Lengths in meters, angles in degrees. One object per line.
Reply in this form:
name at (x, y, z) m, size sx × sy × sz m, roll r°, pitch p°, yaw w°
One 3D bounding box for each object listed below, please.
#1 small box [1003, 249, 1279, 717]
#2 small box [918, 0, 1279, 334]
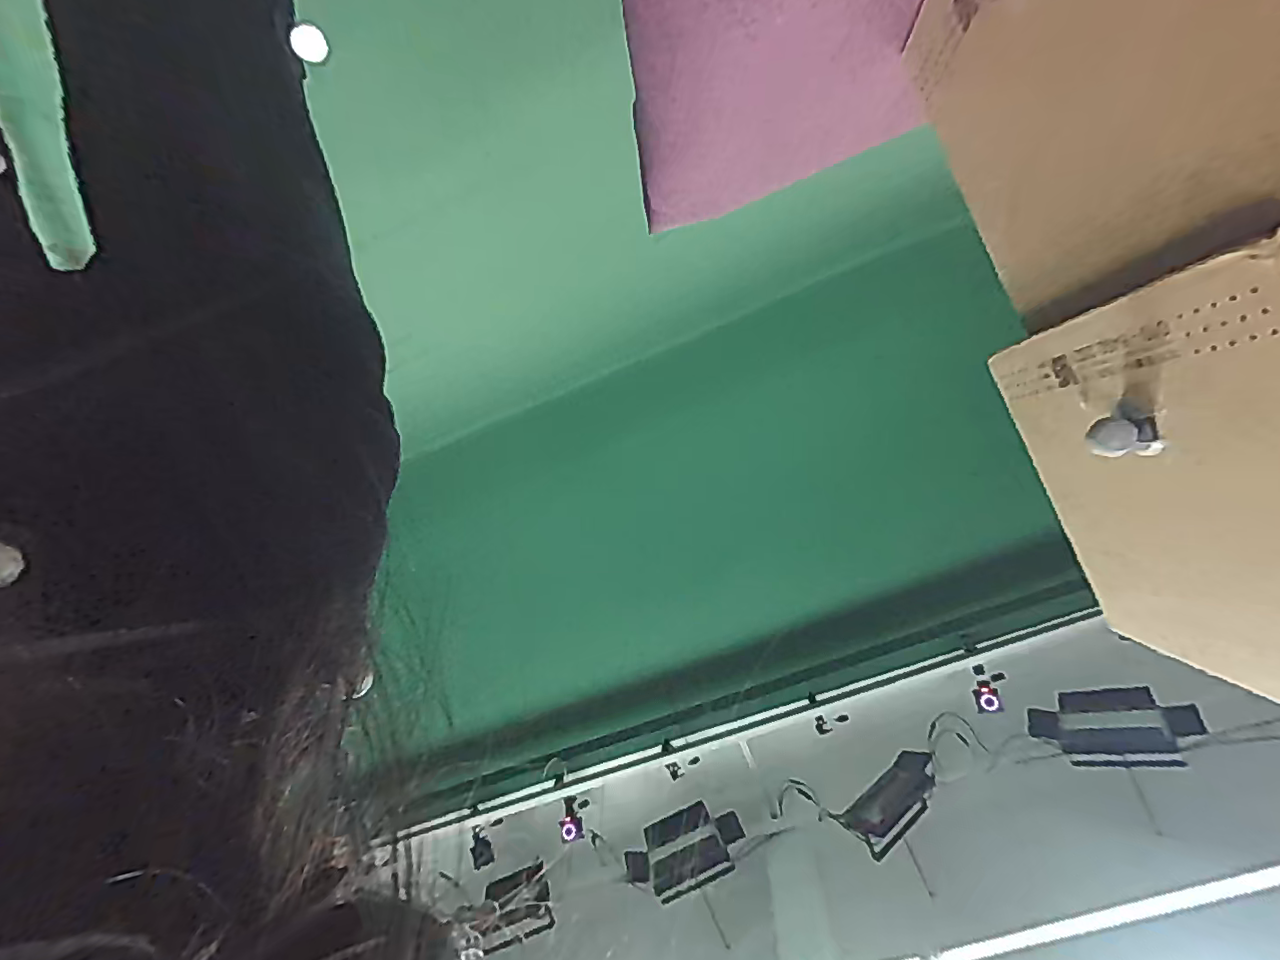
small box at (0.287, -0.020, 0.199) m, size 0.179 × 0.176 × 0.168 m, roll -23°, pitch 177°, yaw 10°
small box at (0.235, -0.176, 0.183) m, size 0.179 × 0.176 × 0.168 m, roll -23°, pitch 178°, yaw 10°
